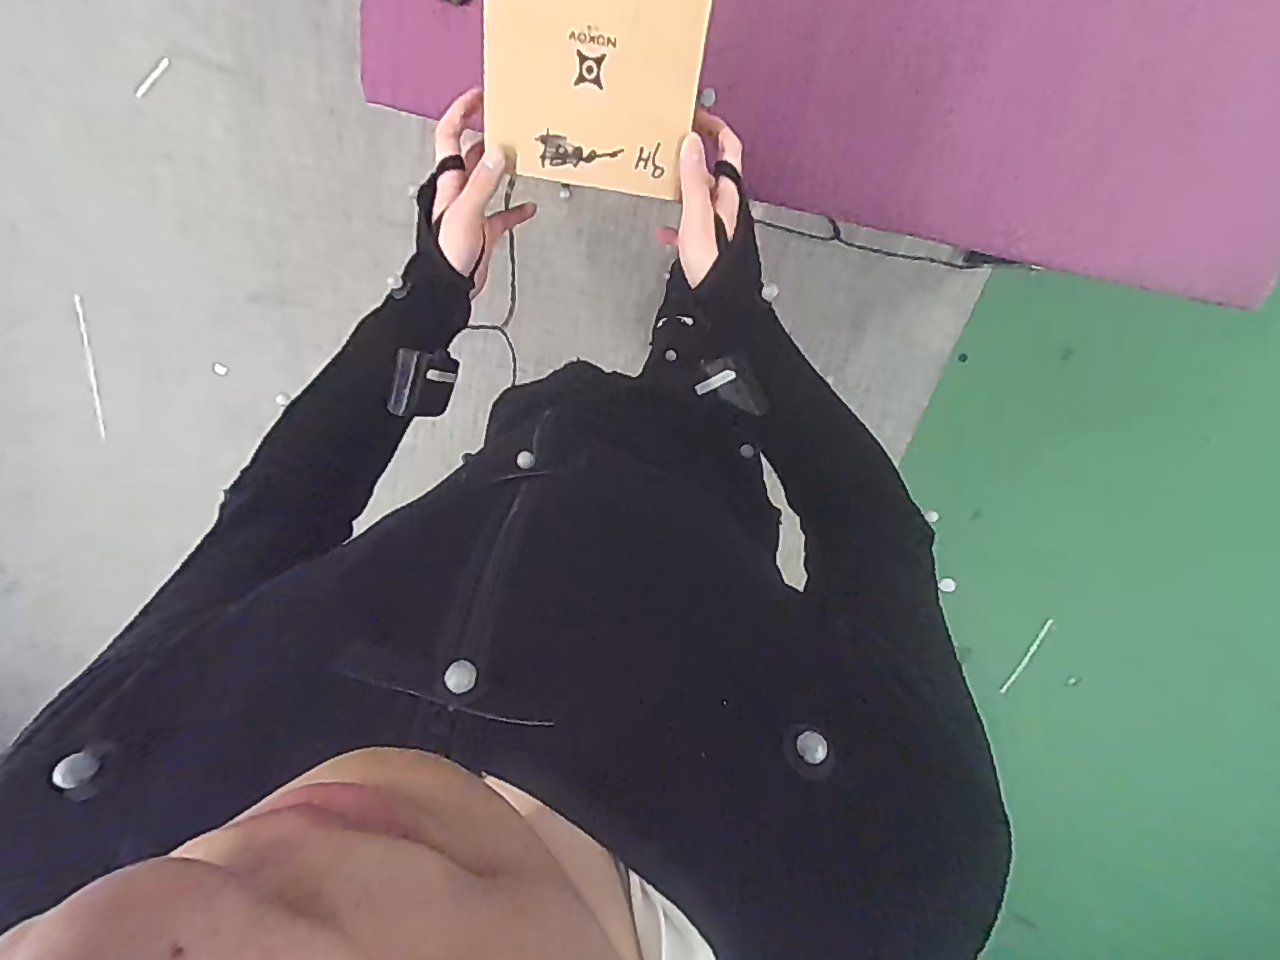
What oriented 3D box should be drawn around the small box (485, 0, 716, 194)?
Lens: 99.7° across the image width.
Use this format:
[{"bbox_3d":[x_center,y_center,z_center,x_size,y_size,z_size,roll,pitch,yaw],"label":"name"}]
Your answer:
[{"bbox_3d":[-0.027,-0.360,0.470,0.168,0.176,0.179,10,120,0],"label":"small box"}]
